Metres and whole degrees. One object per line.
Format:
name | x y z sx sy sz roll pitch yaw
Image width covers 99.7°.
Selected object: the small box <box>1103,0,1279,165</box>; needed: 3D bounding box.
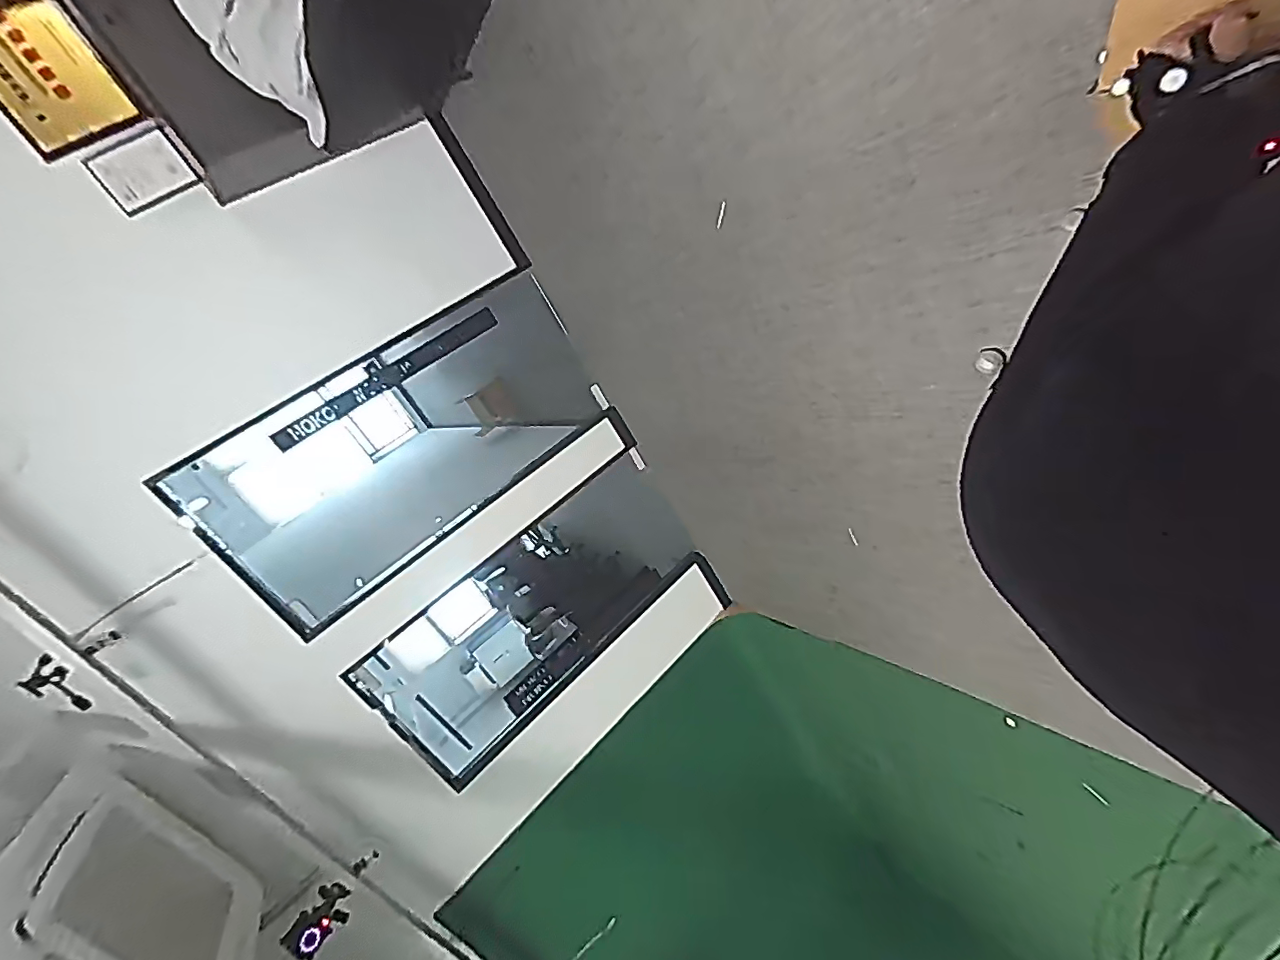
small box | 0.560 -0.437 0.506 0.168 0.179 0.176 12 100 44
